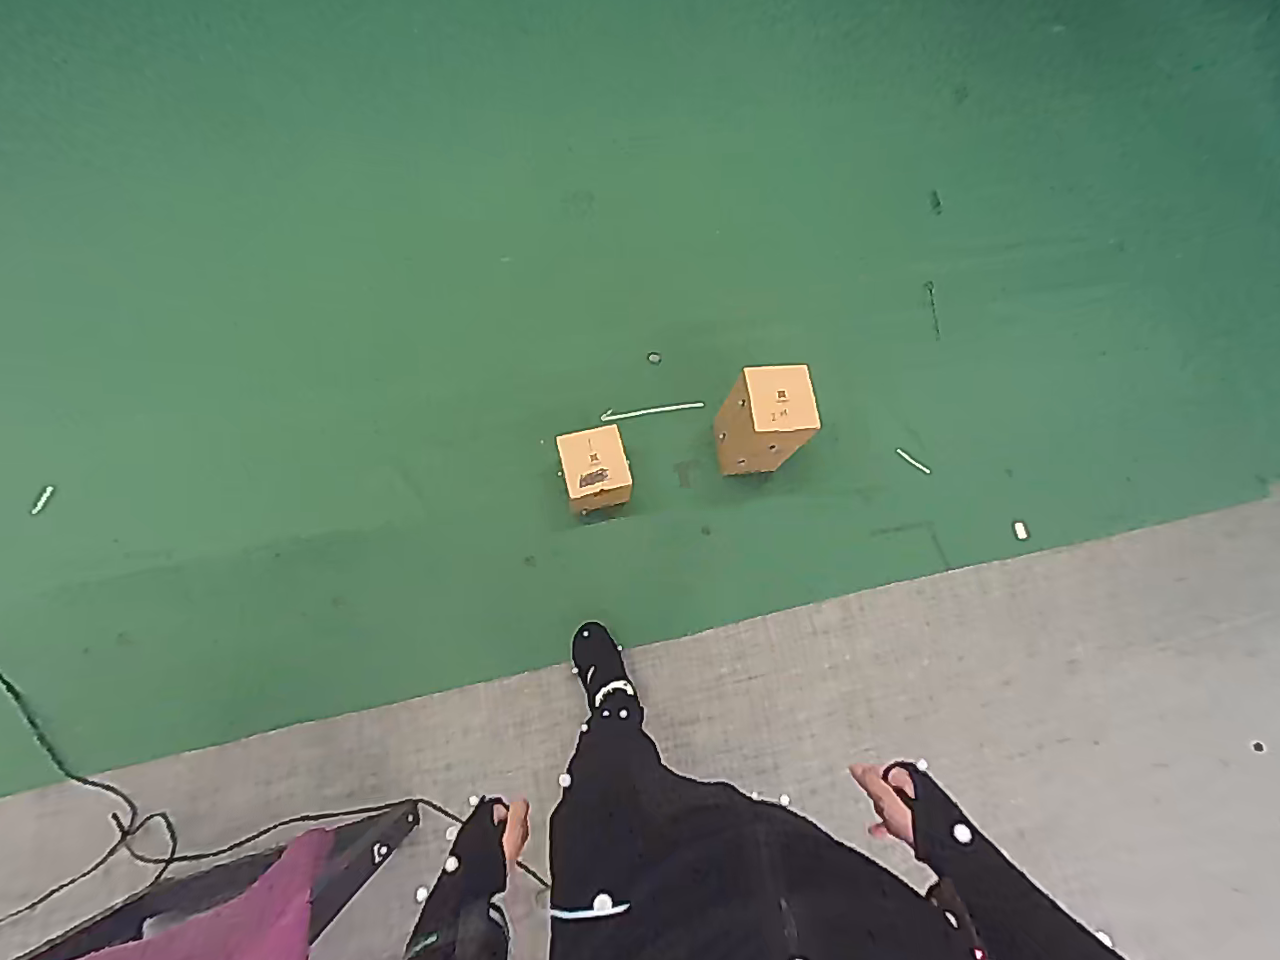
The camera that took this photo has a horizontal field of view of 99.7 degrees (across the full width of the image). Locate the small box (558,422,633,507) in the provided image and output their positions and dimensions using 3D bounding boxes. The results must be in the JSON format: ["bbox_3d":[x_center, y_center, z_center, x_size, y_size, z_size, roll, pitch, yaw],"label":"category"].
[{"bbox_3d":[-0.122,-0.033,1.473,0.168,0.176,0.179,-13,74,-10],"label":"small box"}]

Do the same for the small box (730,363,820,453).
[{"bbox_3d":[0.339,-0.182,1.393,0.168,0.176,0.179,-4,74,-7],"label":"small box"}]
